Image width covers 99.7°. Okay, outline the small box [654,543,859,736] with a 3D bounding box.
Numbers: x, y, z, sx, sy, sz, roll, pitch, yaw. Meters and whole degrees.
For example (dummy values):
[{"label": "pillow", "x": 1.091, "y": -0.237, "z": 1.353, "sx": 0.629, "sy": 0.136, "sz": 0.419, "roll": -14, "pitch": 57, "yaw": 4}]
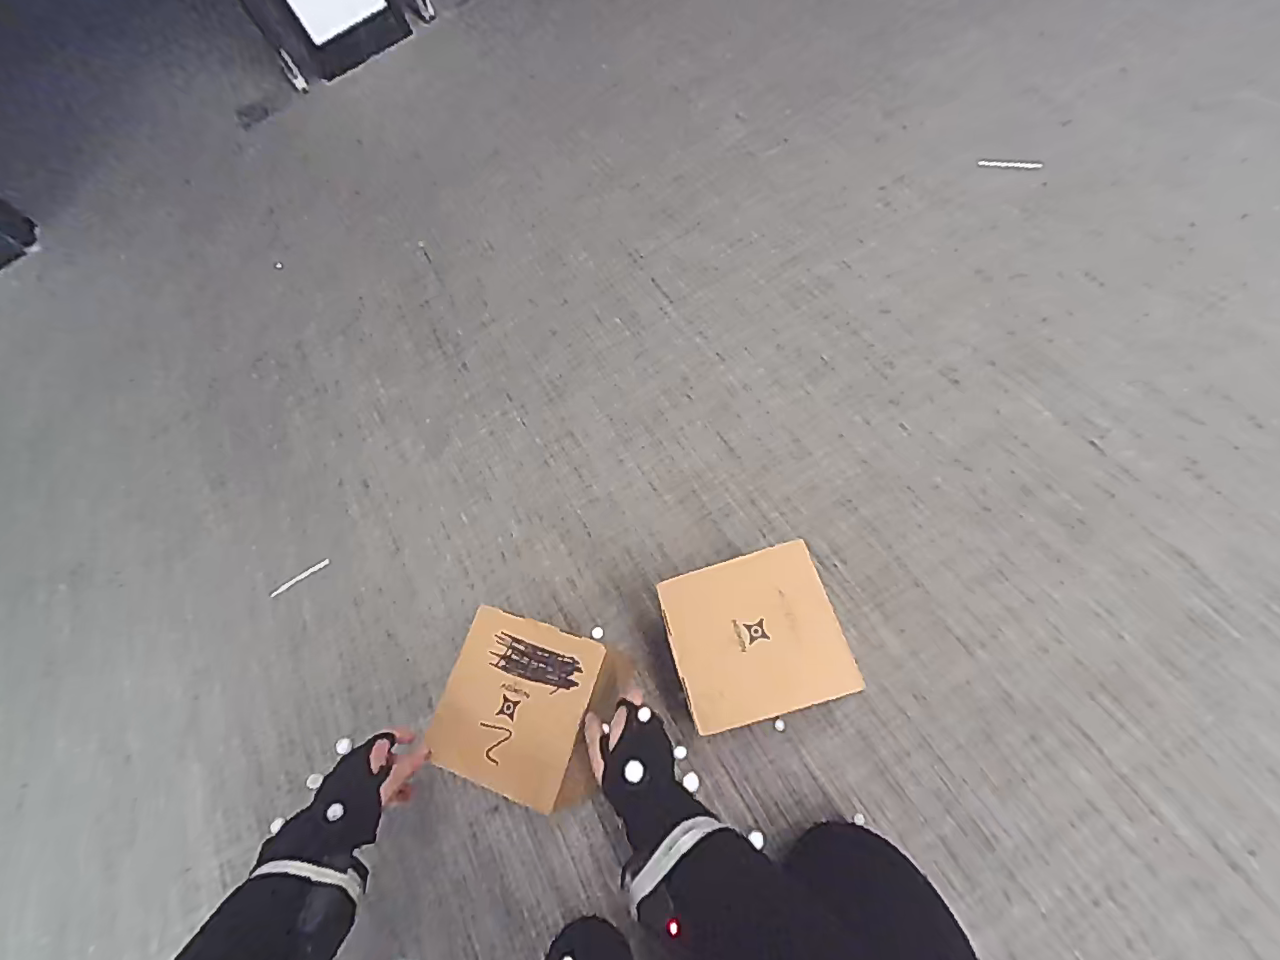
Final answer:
[{"label": "small box", "x": 0.131, "y": 0.197, "z": 0.640, "sx": 0.179, "sy": 0.176, "sz": 0.168, "roll": -17, "pitch": 63, "yaw": 3}]
